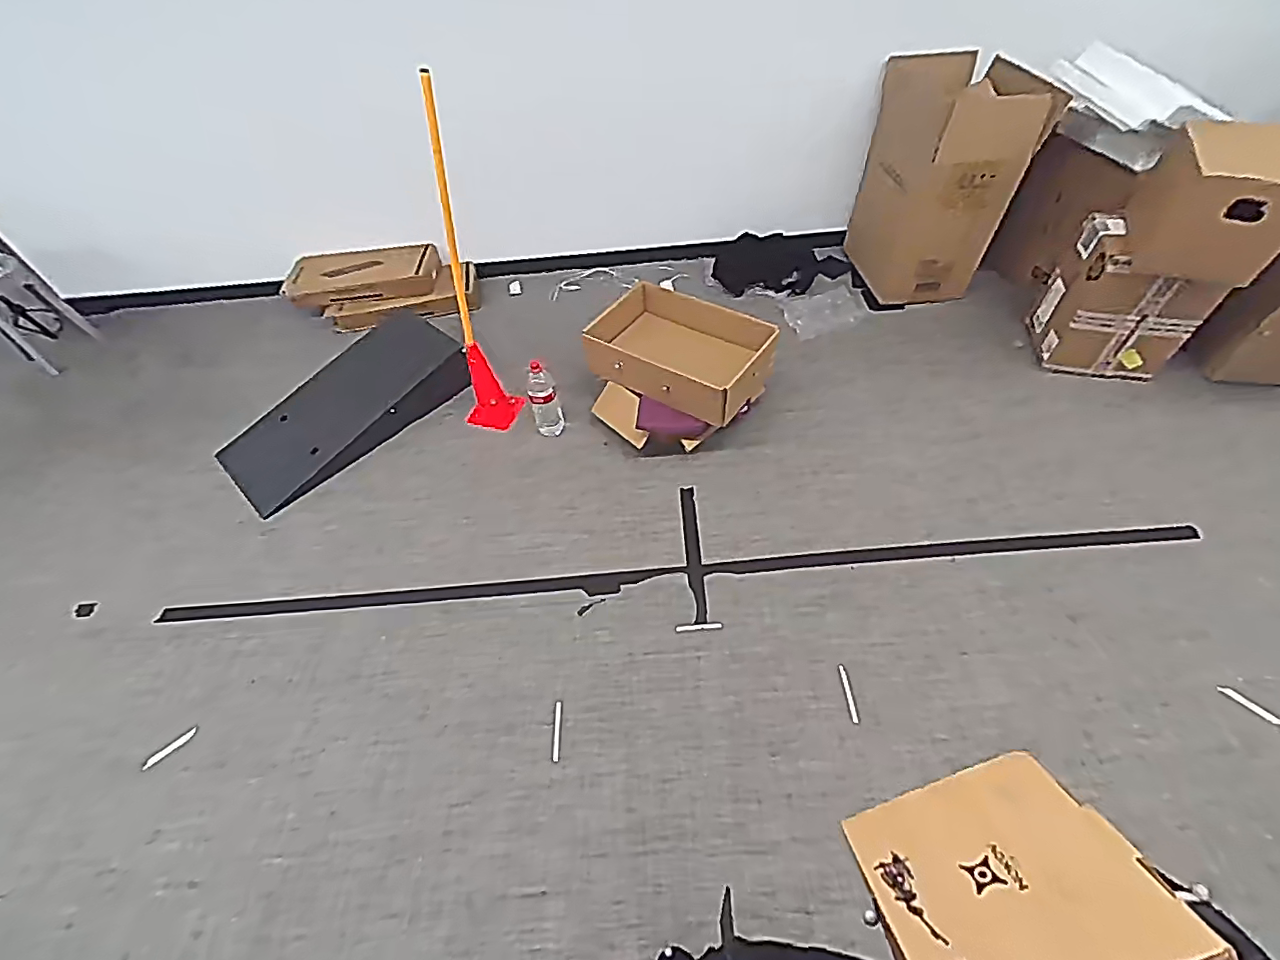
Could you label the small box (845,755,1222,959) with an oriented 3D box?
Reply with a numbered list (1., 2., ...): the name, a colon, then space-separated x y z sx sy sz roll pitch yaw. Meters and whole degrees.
1. small box: 0.297 0.366 0.424 0.179 0.176 0.168 -23 12 3
